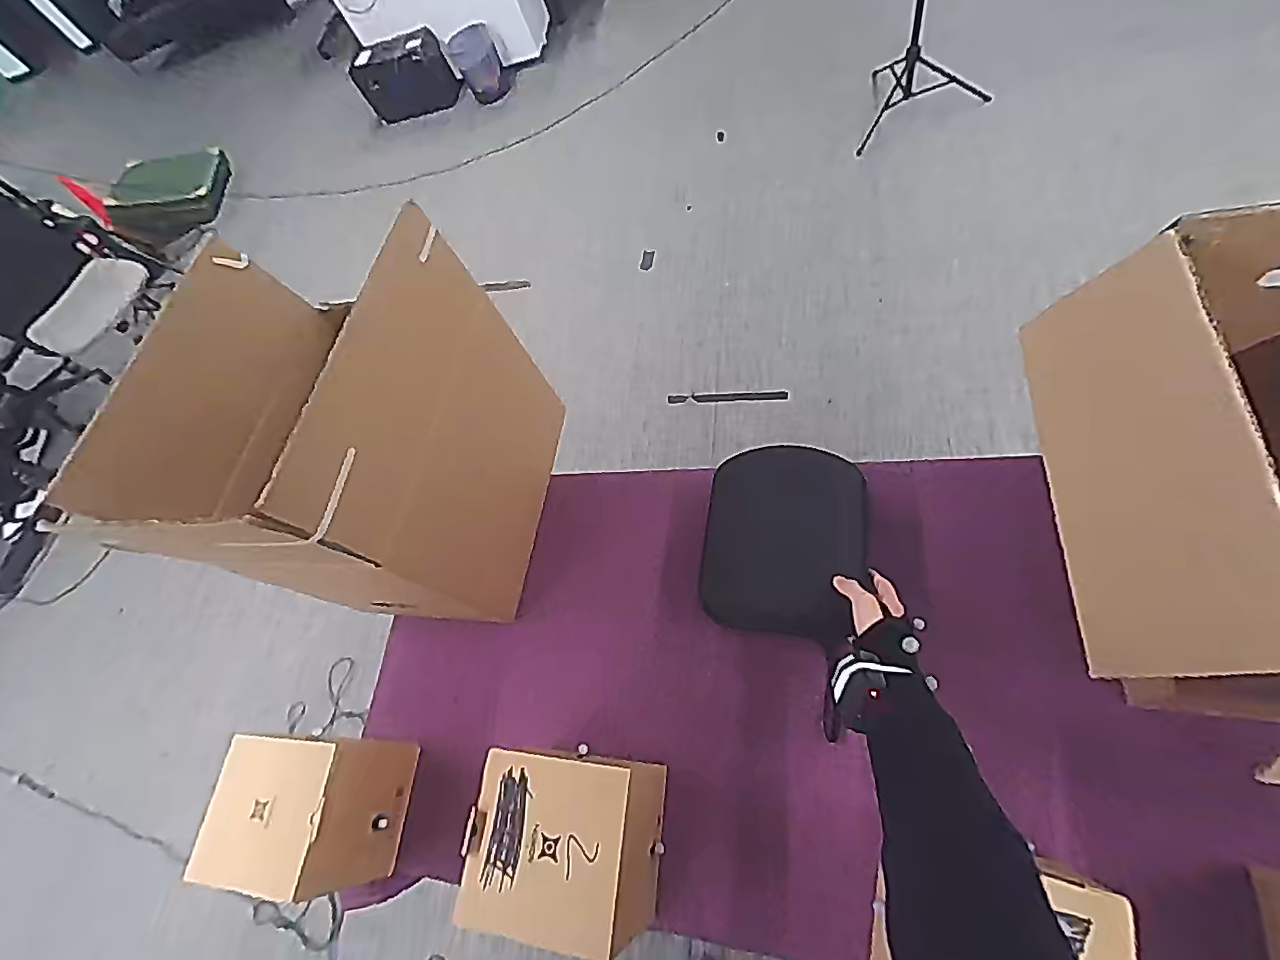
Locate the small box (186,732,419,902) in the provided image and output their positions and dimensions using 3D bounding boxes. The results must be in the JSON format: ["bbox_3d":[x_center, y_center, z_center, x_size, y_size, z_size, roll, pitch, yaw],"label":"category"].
[{"bbox_3d":[-0.443,0.446,0.738,0.179,0.176,0.168,-3,63,16],"label":"small box"}]
